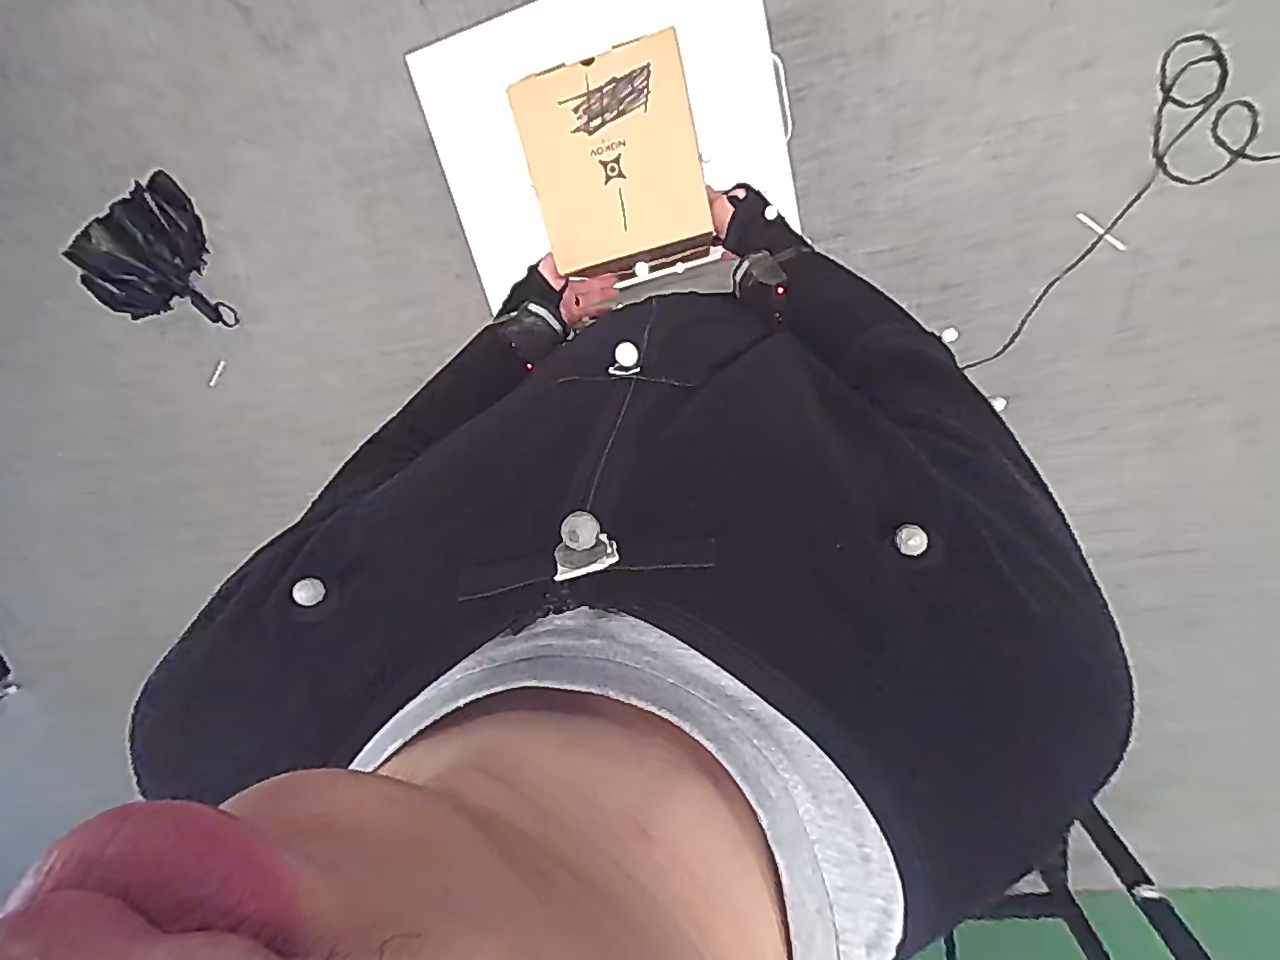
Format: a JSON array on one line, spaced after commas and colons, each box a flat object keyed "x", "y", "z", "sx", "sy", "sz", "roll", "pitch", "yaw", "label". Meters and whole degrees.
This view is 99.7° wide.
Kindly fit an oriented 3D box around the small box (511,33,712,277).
[{"x": -0.019, "y": -0.334, "z": 0.599, "sx": 0.168, "sy": 0.176, "sz": 0.179, "roll": -11, "pitch": 108, "yaw": 10, "label": "small box"}]
